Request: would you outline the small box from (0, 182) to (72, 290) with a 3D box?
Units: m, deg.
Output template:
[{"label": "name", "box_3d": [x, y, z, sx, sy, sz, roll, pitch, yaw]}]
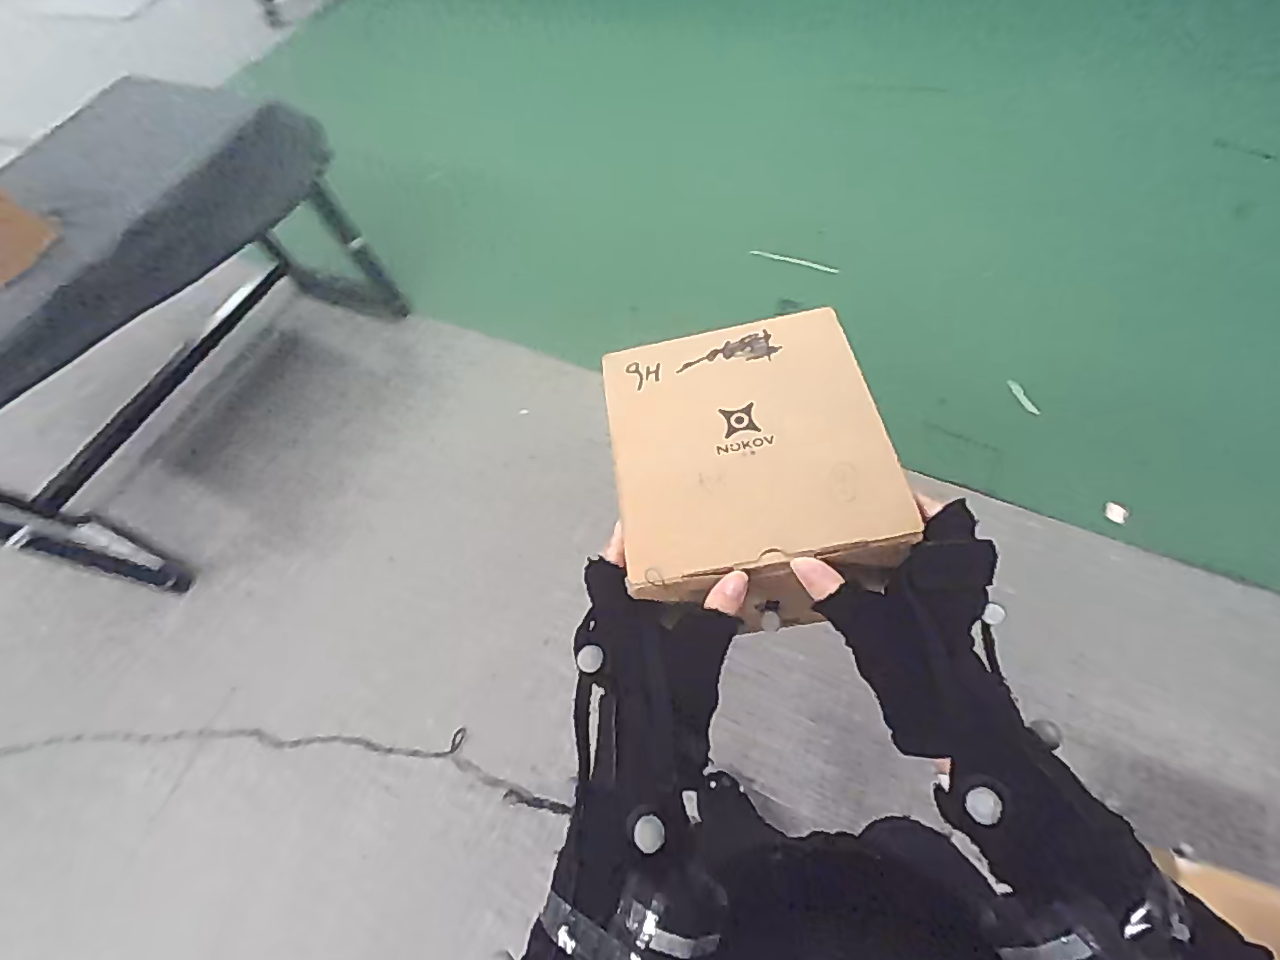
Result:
[{"label": "small box", "box_3d": [-1.385, -0.531, 1.138, 0.168, 0.176, 0.179, 20, 67, 17]}]

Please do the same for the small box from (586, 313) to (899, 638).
[{"label": "small box", "box_3d": [0.066, 0.013, 0.406, 0.168, 0.176, 0.179, -12, 62, 5]}]
